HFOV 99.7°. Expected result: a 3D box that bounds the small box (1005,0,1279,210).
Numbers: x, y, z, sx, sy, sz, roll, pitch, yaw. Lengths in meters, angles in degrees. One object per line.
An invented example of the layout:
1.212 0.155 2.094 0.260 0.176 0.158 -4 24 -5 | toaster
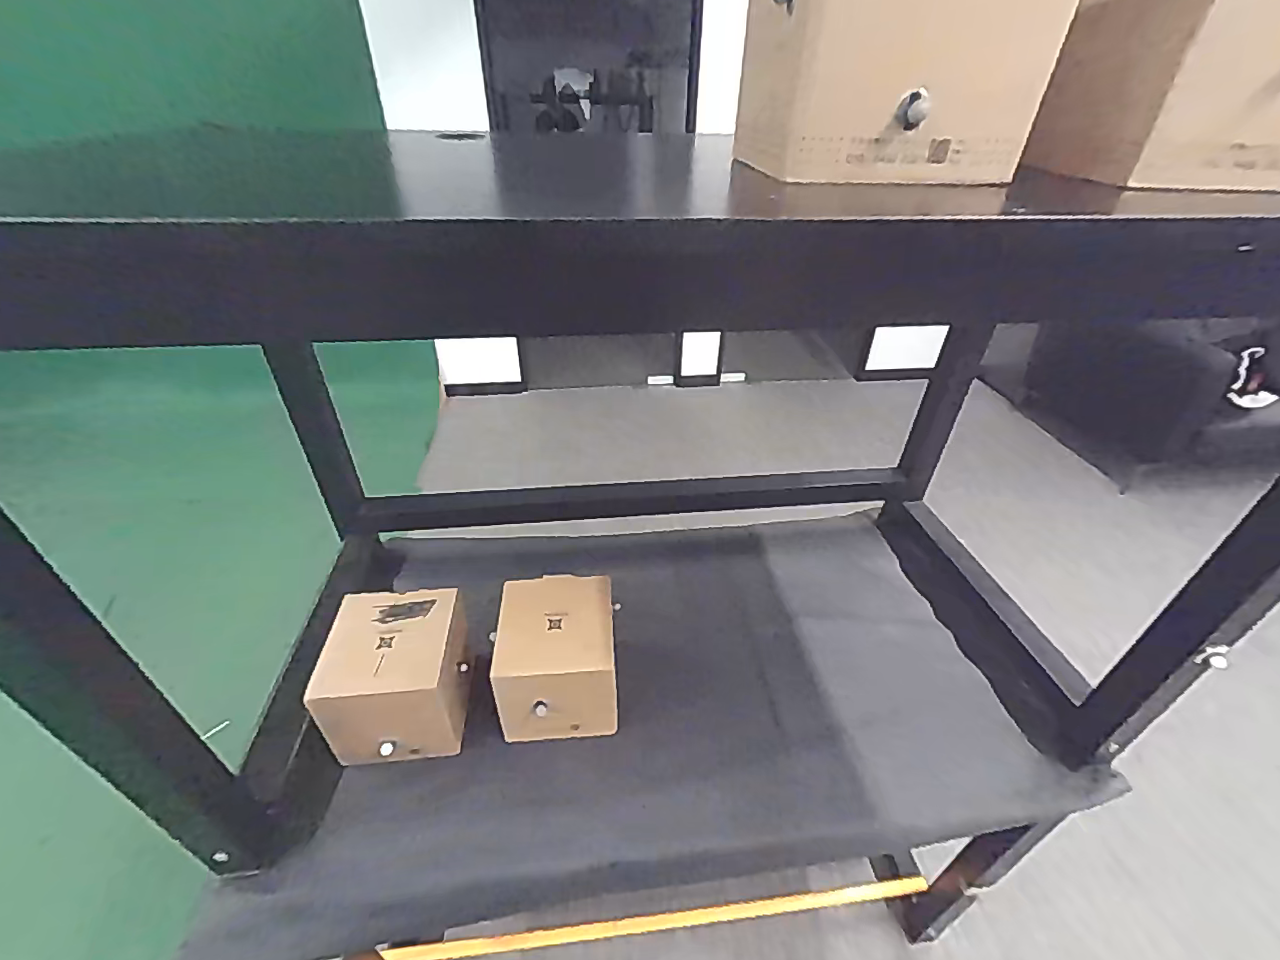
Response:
0.425 -0.309 0.408 0.168 0.176 0.179 4 35 3 | small box

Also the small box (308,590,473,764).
-0.350 0.288 0.801 0.168 0.176 0.179 -3 36 -6 | small box

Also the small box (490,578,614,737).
-0.126 0.275 0.832 0.168 0.176 0.179 -2 35 -5 | small box
